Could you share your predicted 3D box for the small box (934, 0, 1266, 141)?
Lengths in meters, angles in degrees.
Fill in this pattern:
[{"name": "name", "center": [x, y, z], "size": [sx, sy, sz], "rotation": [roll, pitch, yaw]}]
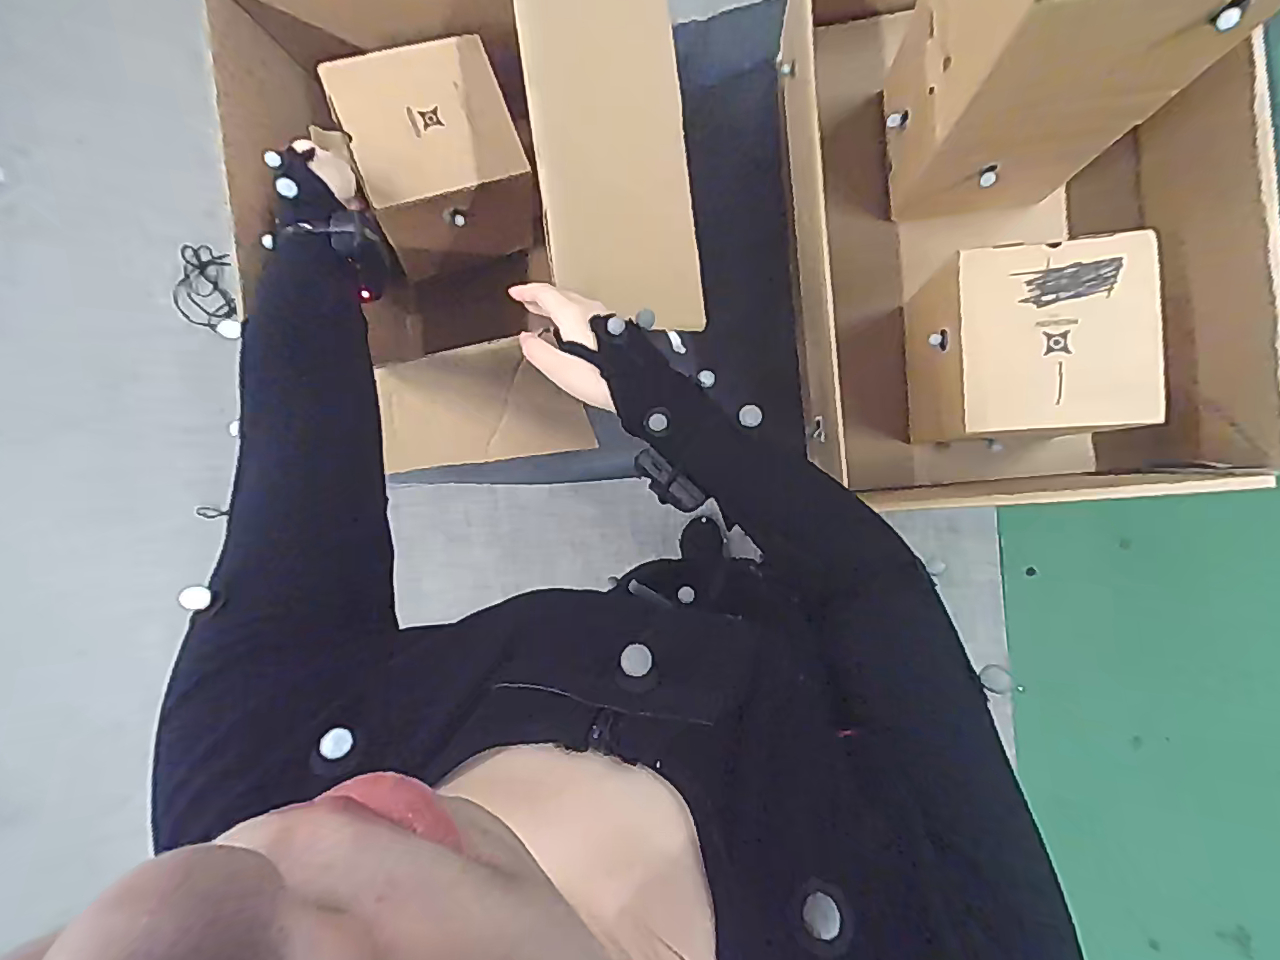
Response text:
[{"name": "small box", "center": [0.347, -0.396, 0.420], "size": [0.179, 0.176, 0.168], "rotation": [-2, 92, 8]}]
